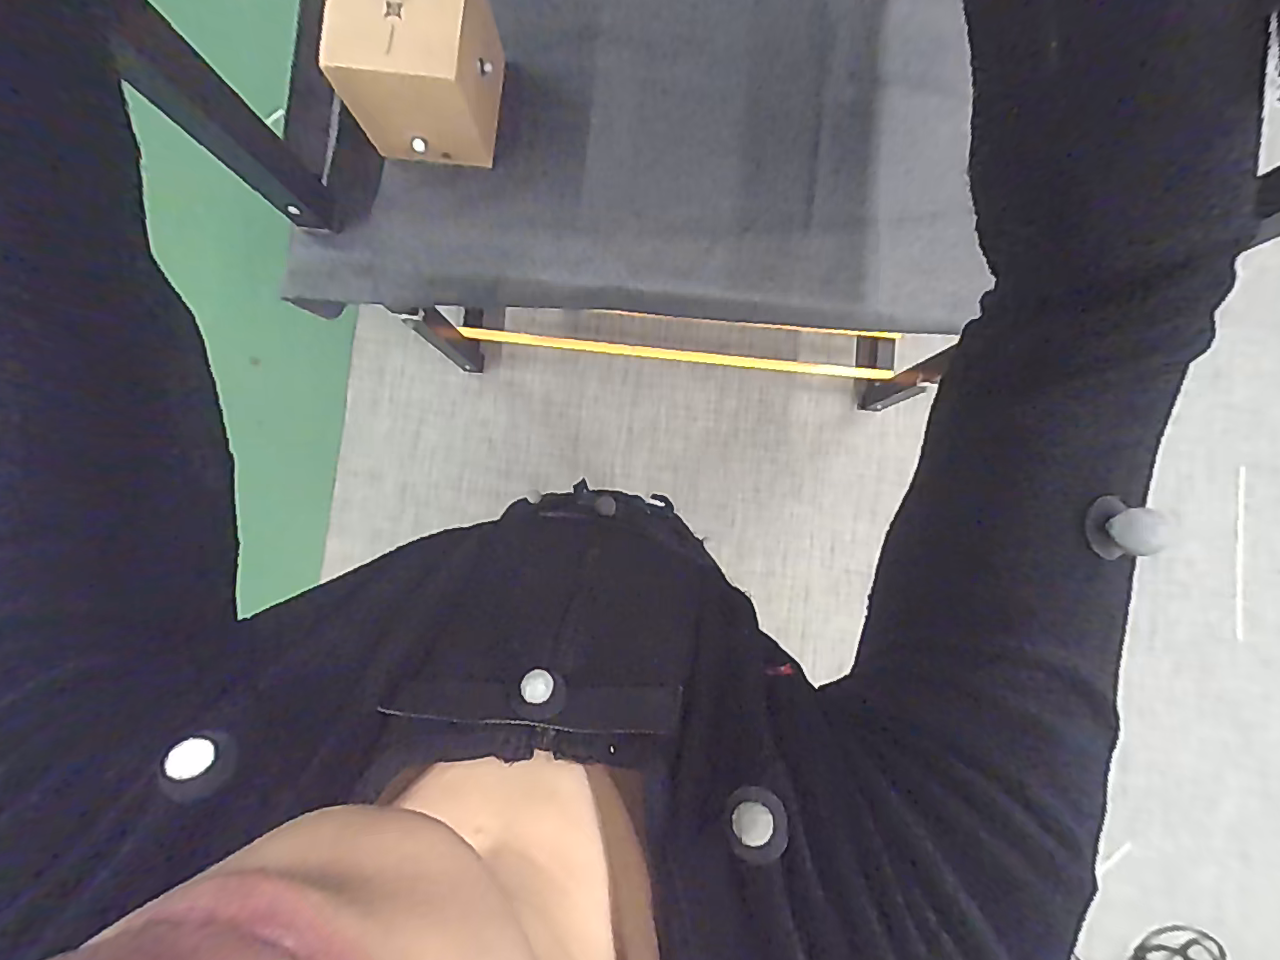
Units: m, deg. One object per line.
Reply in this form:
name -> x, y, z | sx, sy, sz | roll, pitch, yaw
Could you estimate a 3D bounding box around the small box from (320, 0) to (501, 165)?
small box -> -0.291, -0.565, 0.725 | 0.168, 0.176, 0.179 | 5, 87, -1
